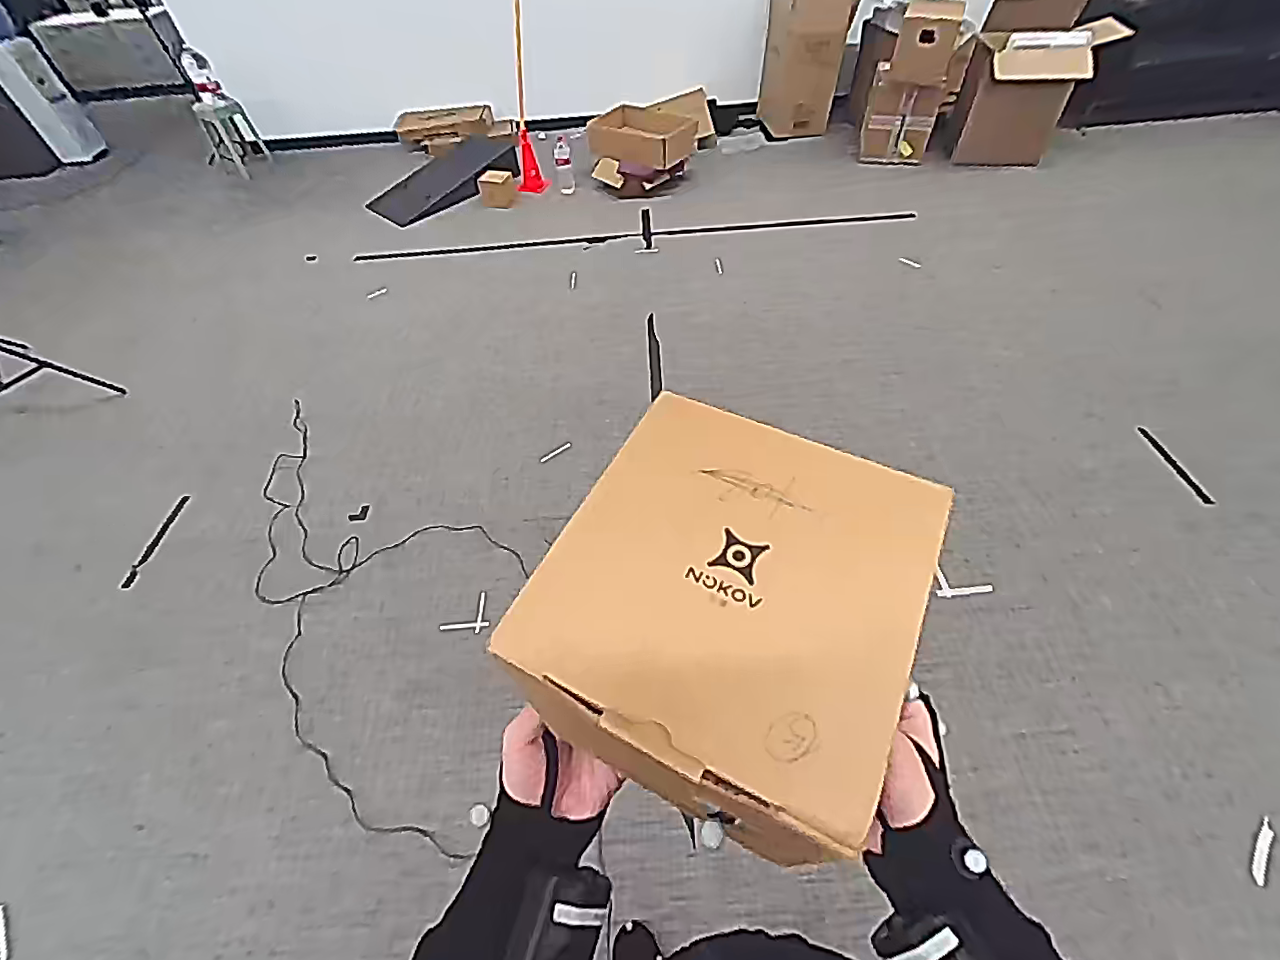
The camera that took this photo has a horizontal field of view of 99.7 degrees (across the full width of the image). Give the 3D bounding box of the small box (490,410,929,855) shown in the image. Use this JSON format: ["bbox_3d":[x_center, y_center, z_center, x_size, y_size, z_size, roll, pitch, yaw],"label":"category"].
[{"bbox_3d":[0.045,0.094,0.327,0.168,0.176,0.179,21,57,17],"label":"small box"}]
